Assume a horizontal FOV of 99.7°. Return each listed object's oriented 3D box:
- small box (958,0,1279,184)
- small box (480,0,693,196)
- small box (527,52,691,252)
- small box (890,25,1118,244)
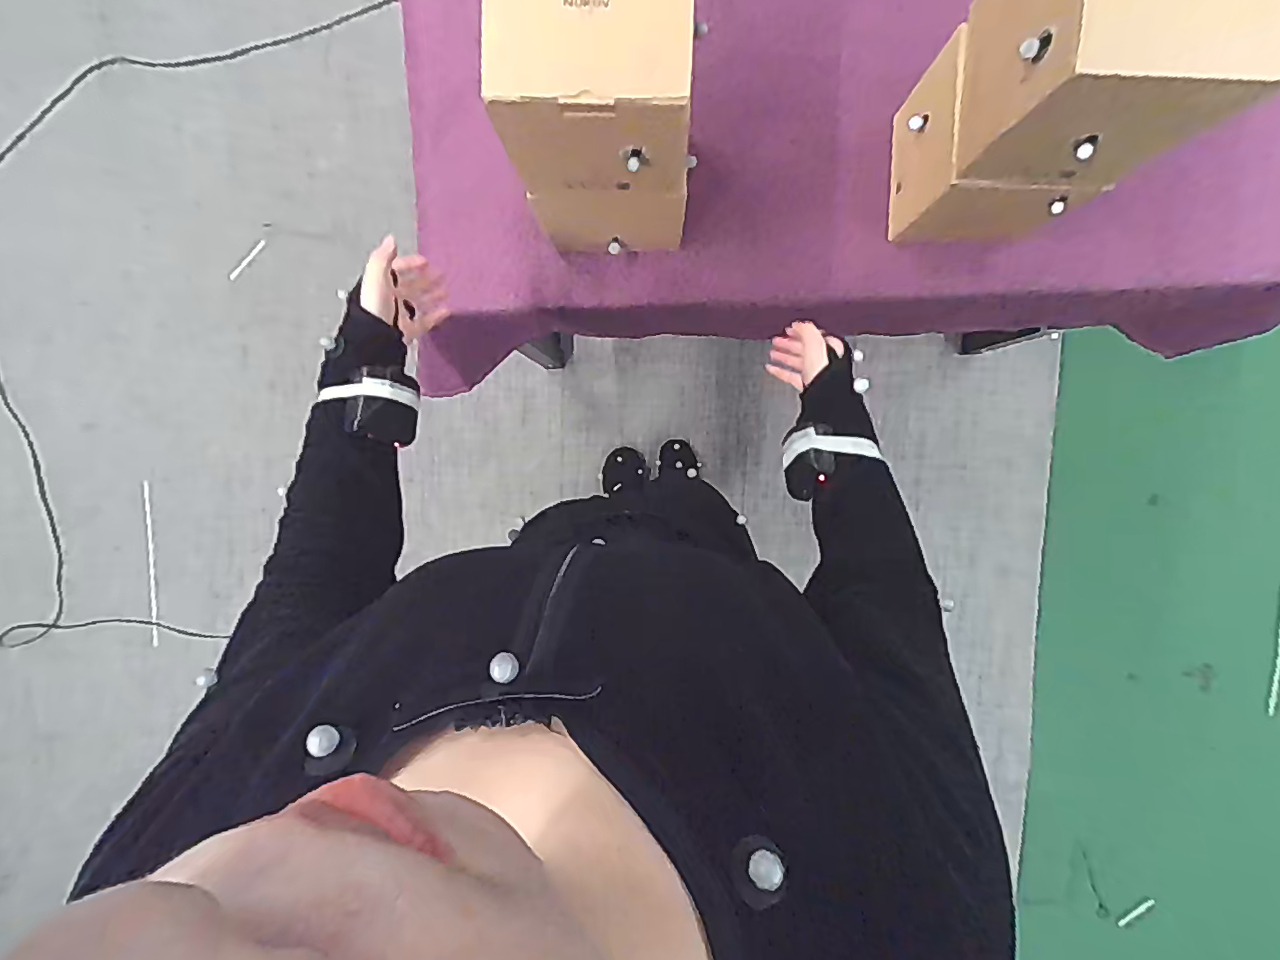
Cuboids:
[{"bbox_3d":[0.413,-0.389,0.479,0.168,0.176,0.179,4,94,1],"label":"small box"},{"bbox_3d":[-0.037,-0.384,0.496,0.168,0.176,0.179,3,93,2],"label":"small box"},{"bbox_3d":[-0.033,-0.391,0.659,0.179,0.176,0.168,1,94,1],"label":"small box"},{"bbox_3d":[0.419,-0.395,0.644,0.179,0.176,0.168,2,94,1],"label":"small box"}]
